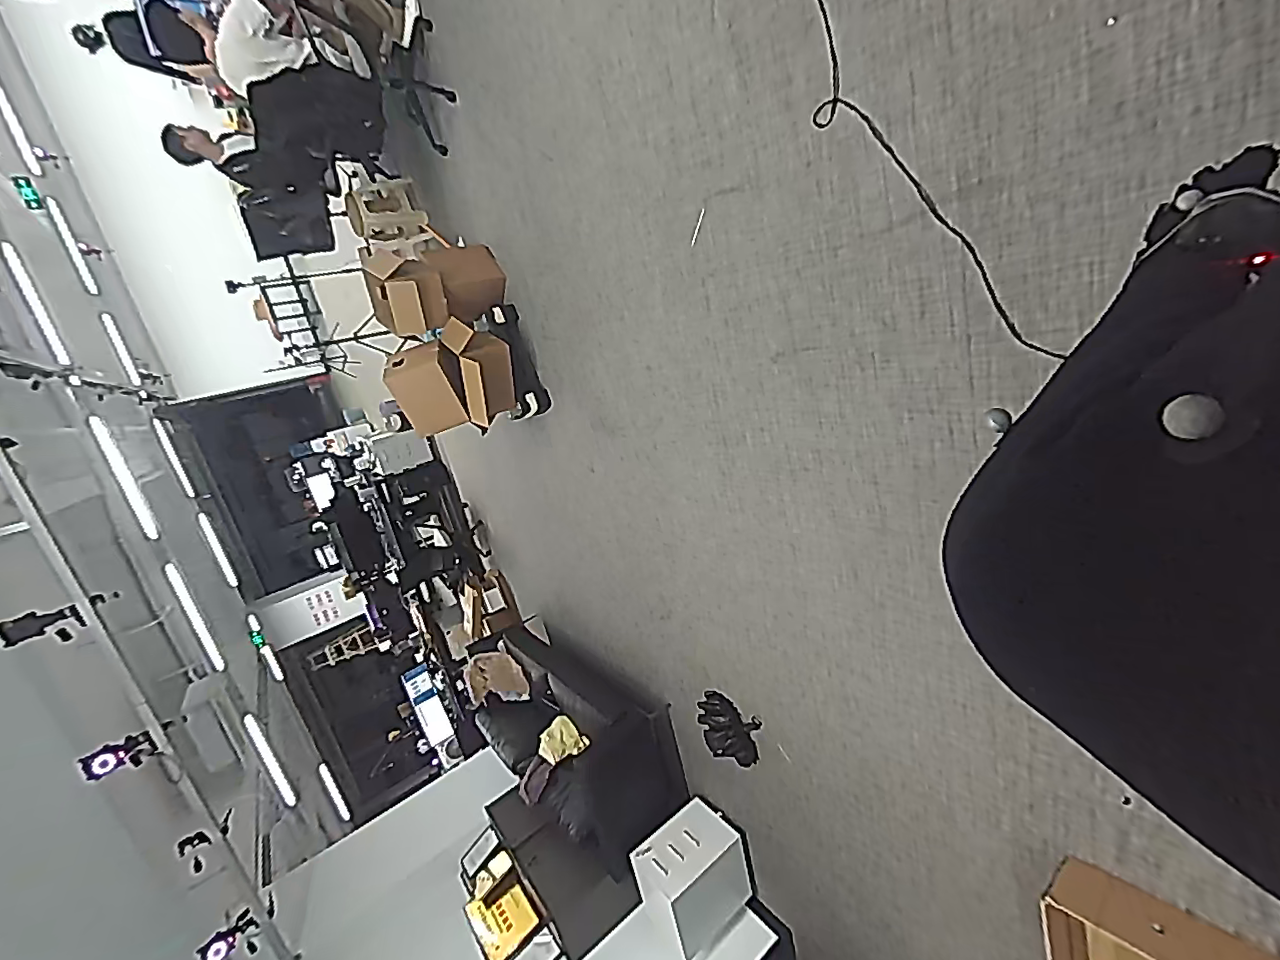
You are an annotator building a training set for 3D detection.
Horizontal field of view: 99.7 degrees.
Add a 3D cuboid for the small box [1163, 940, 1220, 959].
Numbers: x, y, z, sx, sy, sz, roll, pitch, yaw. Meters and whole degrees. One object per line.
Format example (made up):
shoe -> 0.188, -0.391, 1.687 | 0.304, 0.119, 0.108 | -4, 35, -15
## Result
small box -> 1.424, 1.314, 1.350 | 0.179, 0.176, 0.168 | 3, 114, 54
